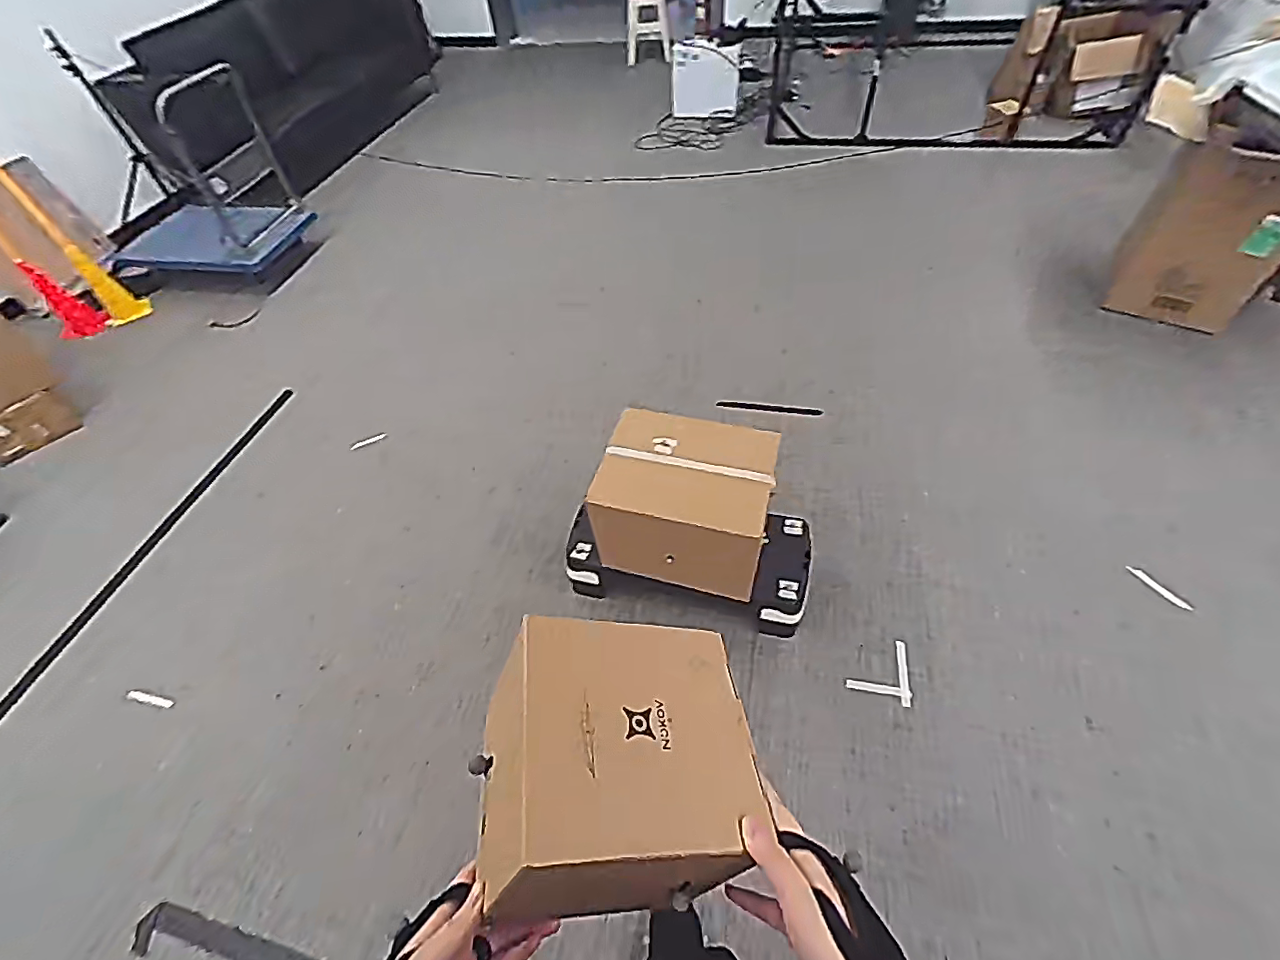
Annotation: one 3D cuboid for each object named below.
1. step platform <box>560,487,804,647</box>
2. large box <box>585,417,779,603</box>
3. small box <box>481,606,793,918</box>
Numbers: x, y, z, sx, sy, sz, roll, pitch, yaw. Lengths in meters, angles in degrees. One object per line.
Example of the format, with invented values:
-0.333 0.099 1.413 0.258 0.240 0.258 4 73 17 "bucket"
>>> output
0.118 0.232 1.563 0.684 0.204 0.286 12 54 16 "step platform"
0.122 0.077 1.380 0.408 0.320 0.320 10 53 15 "large box"
-0.016 0.224 0.431 0.179 0.176 0.168 11 40 -20 "small box"
